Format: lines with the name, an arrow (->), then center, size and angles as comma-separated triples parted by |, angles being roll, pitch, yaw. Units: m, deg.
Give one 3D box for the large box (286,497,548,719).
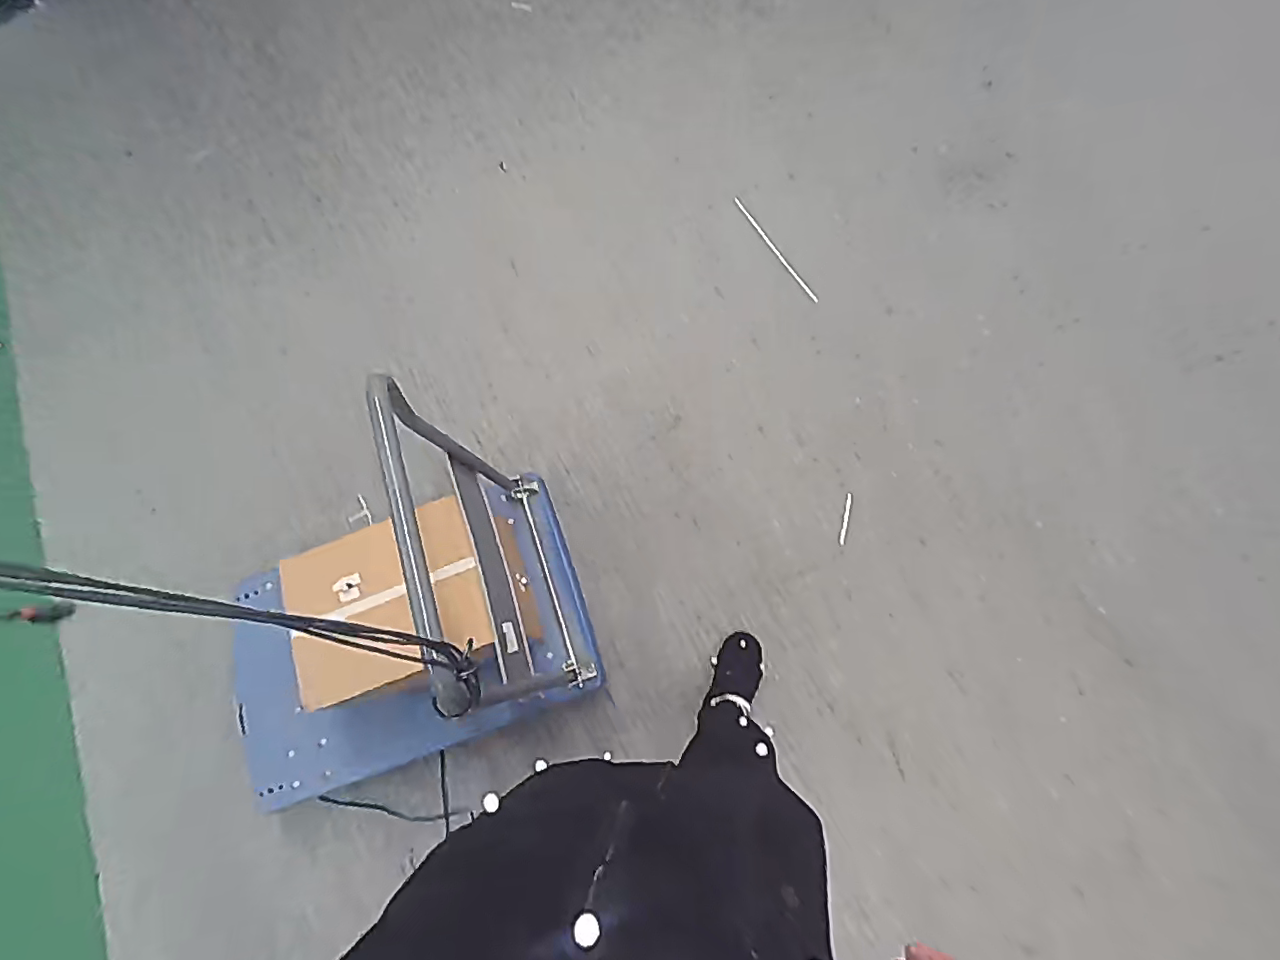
large box -> -0.470, 0.282, 1.203 | 0.408, 0.320, 0.320 | -22, 72, 1
